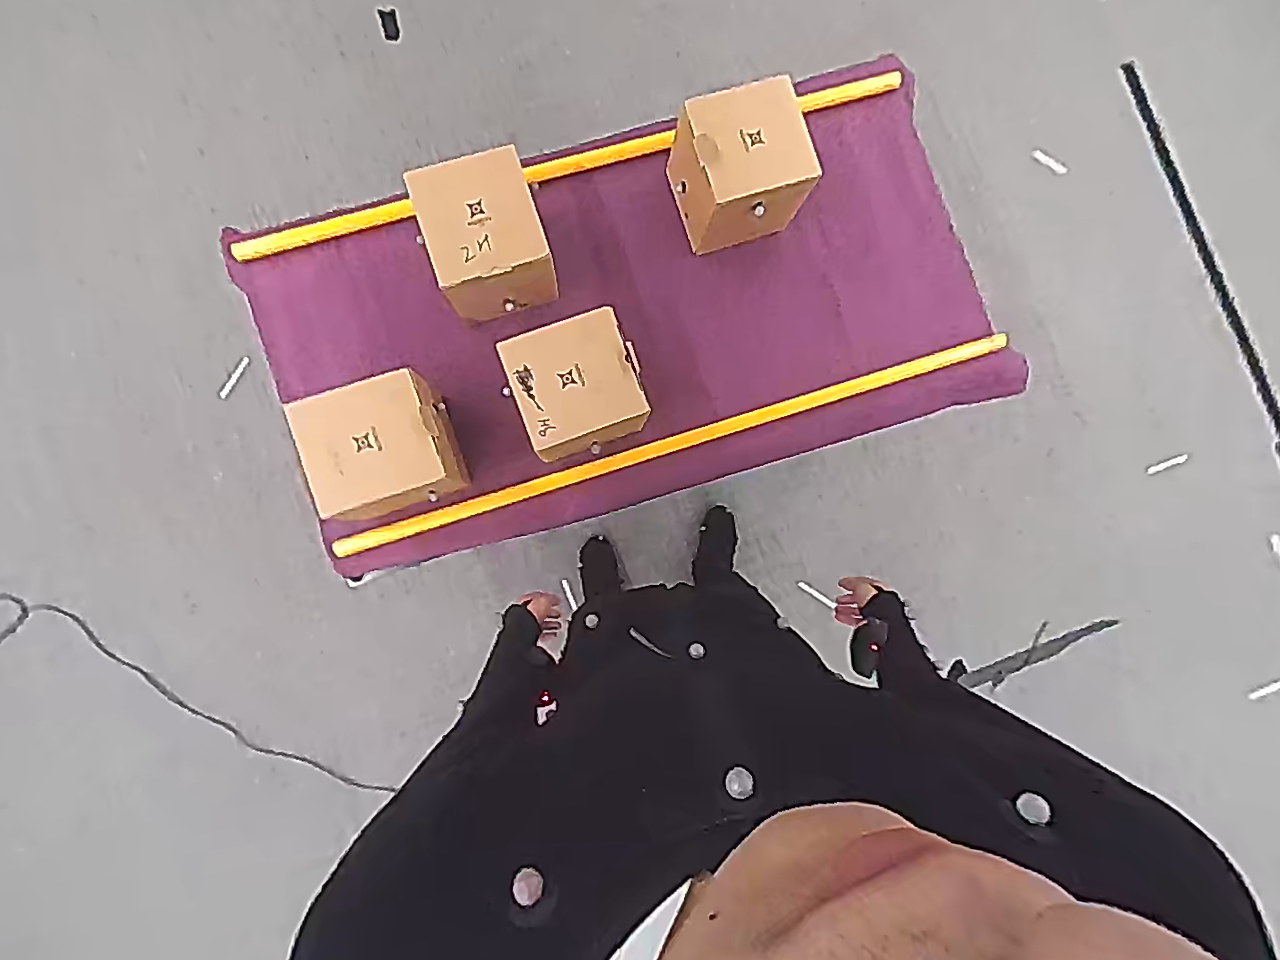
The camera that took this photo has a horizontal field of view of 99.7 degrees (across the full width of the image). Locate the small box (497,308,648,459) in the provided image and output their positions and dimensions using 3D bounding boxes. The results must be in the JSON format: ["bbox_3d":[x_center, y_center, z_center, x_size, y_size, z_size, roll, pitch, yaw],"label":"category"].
[{"bbox_3d":[-0.103,-0.140,0.844,0.179,0.176,0.168,-20,88,-6],"label":"small box"}]

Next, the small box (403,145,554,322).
[{"bbox_3d":[-0.241,-0.374,0.849,0.168,0.176,0.179,-19,90,-5],"label":"small box"}]

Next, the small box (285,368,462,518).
[{"bbox_3d":[-0.382,-0.048,0.814,0.179,0.176,0.168,-20,87,-8],"label":"small box"}]

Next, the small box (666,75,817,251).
[{"bbox_3d":[0.157,-0.509,0.891,0.179,0.176,0.168,-19,89,-5],"label":"small box"}]
